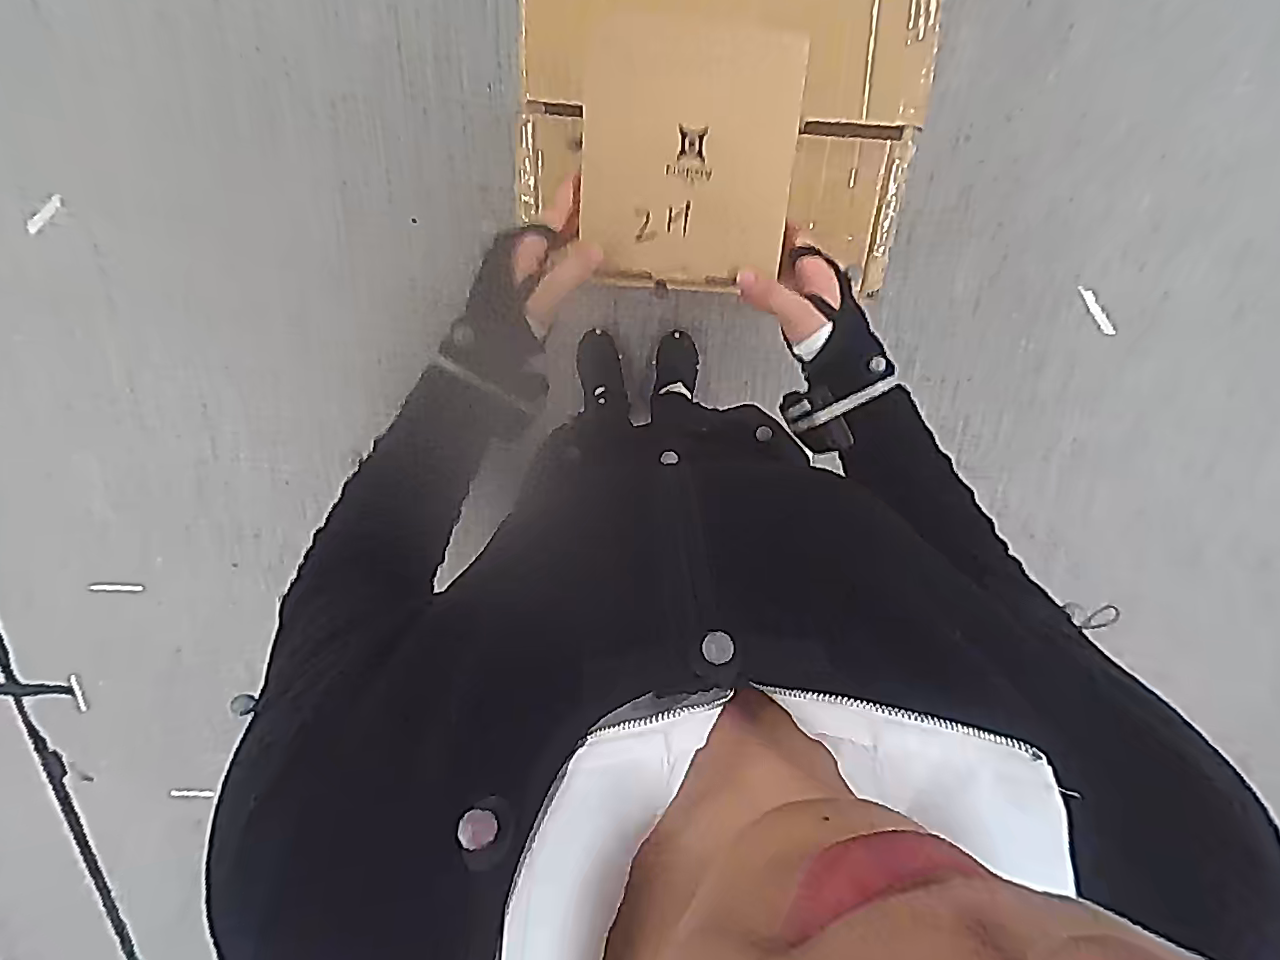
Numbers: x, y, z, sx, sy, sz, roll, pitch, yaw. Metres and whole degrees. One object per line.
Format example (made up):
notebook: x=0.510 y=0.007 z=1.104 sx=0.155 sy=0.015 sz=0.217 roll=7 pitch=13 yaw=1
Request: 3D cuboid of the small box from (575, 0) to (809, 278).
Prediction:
small box: x=0.029 y=-0.283 z=0.485 sx=0.168 sy=0.176 sz=0.179 roll=3 pitch=109 yaw=-6
